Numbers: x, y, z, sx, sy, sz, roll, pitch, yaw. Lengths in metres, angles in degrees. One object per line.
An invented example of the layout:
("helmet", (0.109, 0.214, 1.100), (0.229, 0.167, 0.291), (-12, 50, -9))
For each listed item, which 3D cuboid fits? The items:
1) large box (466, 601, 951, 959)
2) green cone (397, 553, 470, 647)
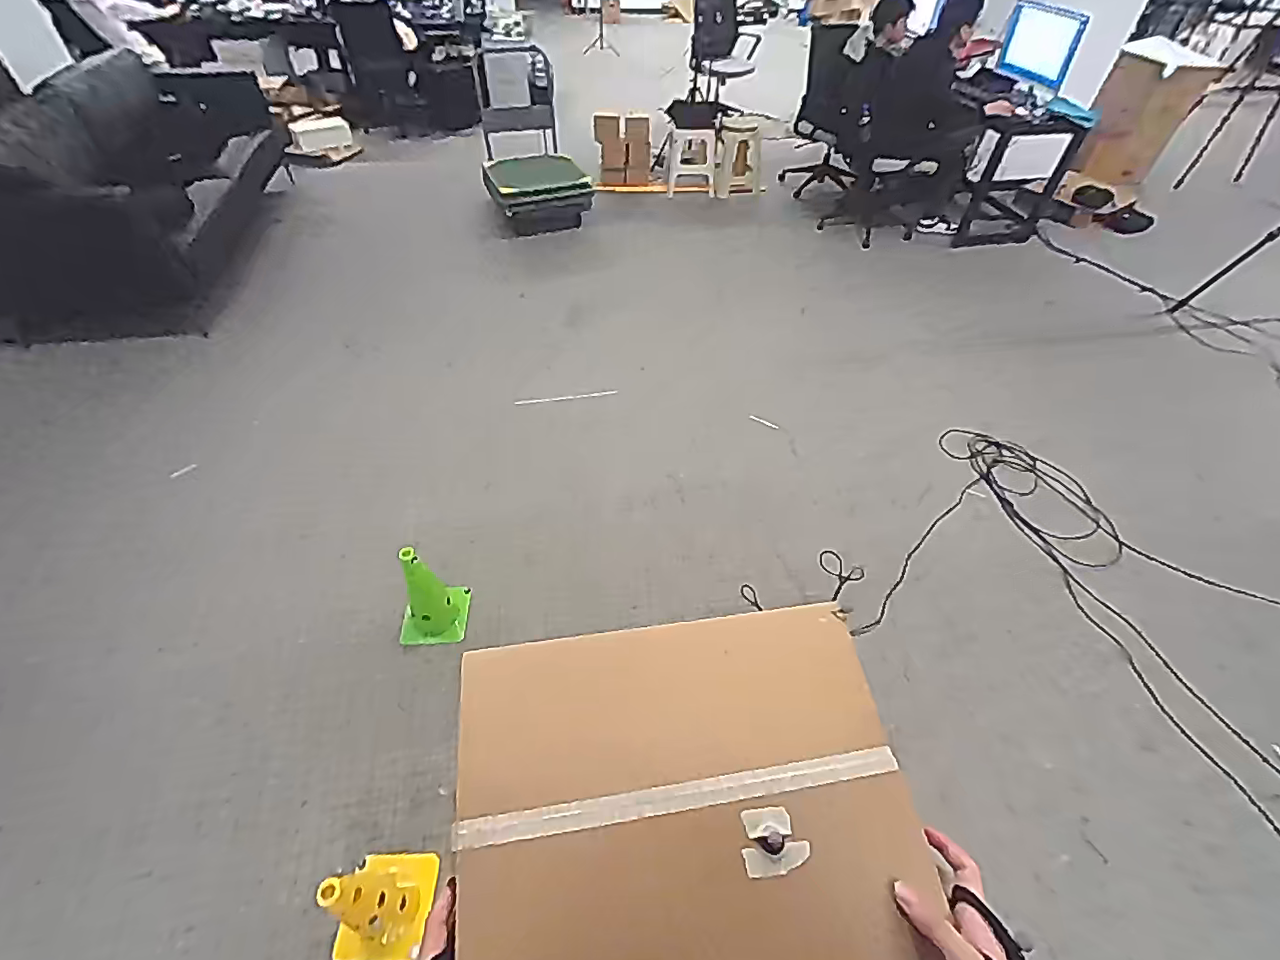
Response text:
("large box", (0.033, 0.366, 0.626), (0.408, 0.320, 0.320), (-6, 59, -7))
("green cone", (-0.658, 0.332, 1.628), (0.200, 0.368, 0.202), (-3, 49, -4))
